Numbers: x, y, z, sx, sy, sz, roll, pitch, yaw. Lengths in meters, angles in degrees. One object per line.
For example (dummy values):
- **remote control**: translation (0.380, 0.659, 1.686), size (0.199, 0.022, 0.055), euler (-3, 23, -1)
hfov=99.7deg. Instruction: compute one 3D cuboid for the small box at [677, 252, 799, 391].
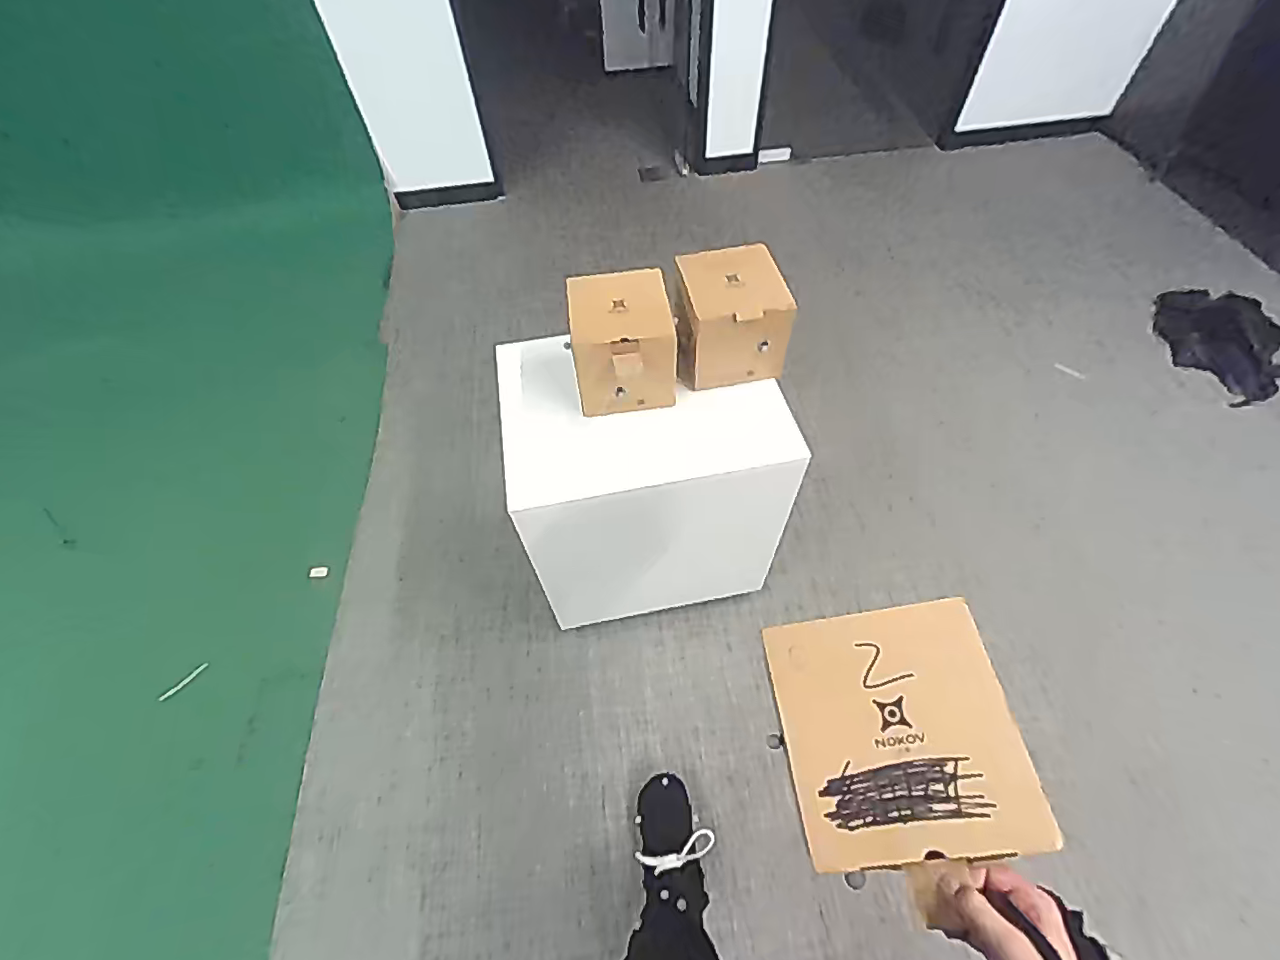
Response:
- **small box**: translation (0.165, -0.276, 0.972), size (0.168, 0.176, 0.179), euler (-10, 55, -5)
